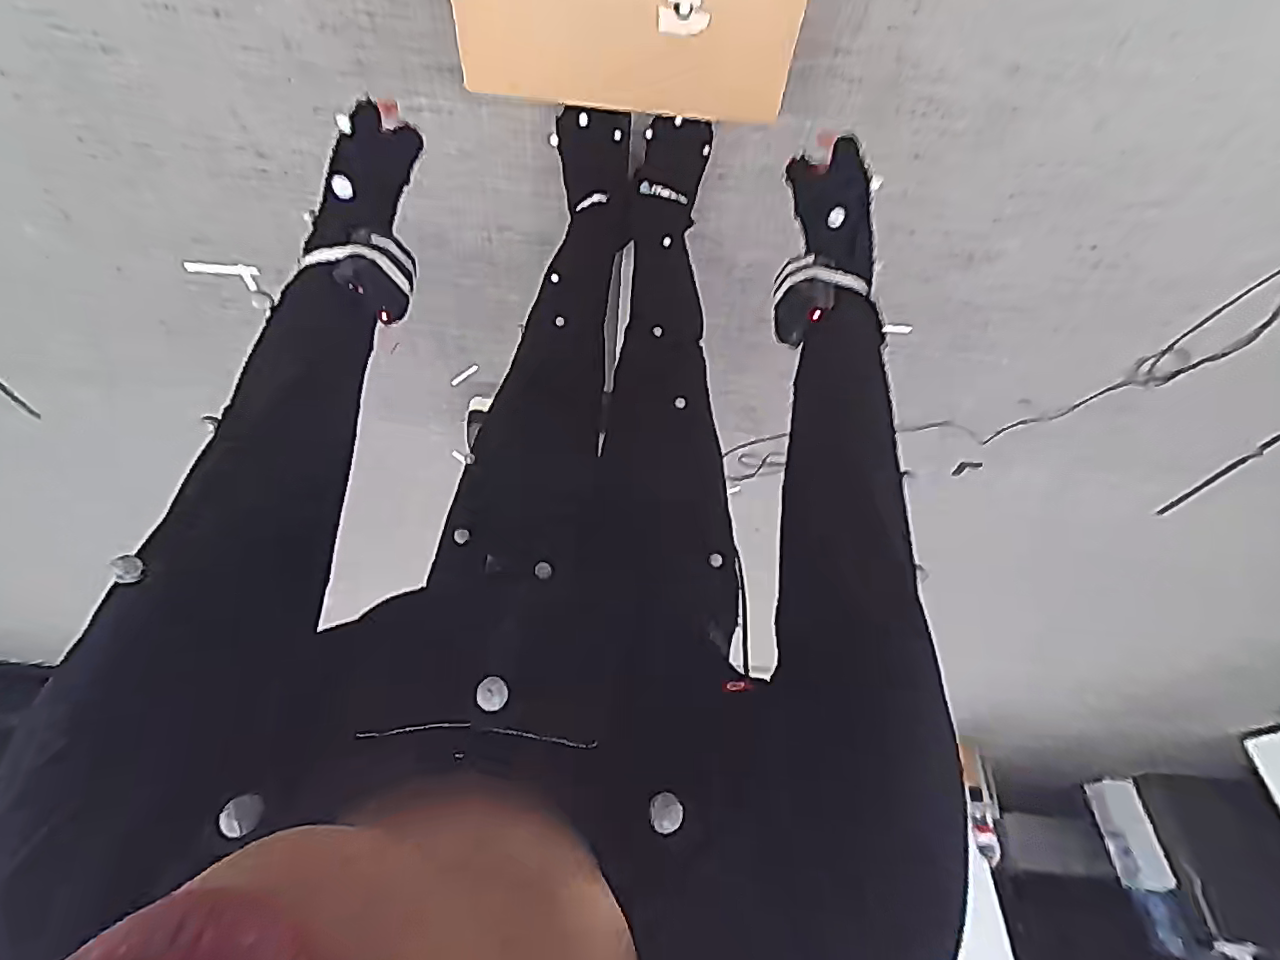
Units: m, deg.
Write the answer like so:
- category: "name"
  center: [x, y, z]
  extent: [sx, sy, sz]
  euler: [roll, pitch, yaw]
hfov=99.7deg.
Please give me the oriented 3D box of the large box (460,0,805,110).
- category: "large box"
  center: [-0.003, -0.700, 0.662]
  extent: [0.408, 0.320, 0.320]
  euler: [4, 144, -2]
